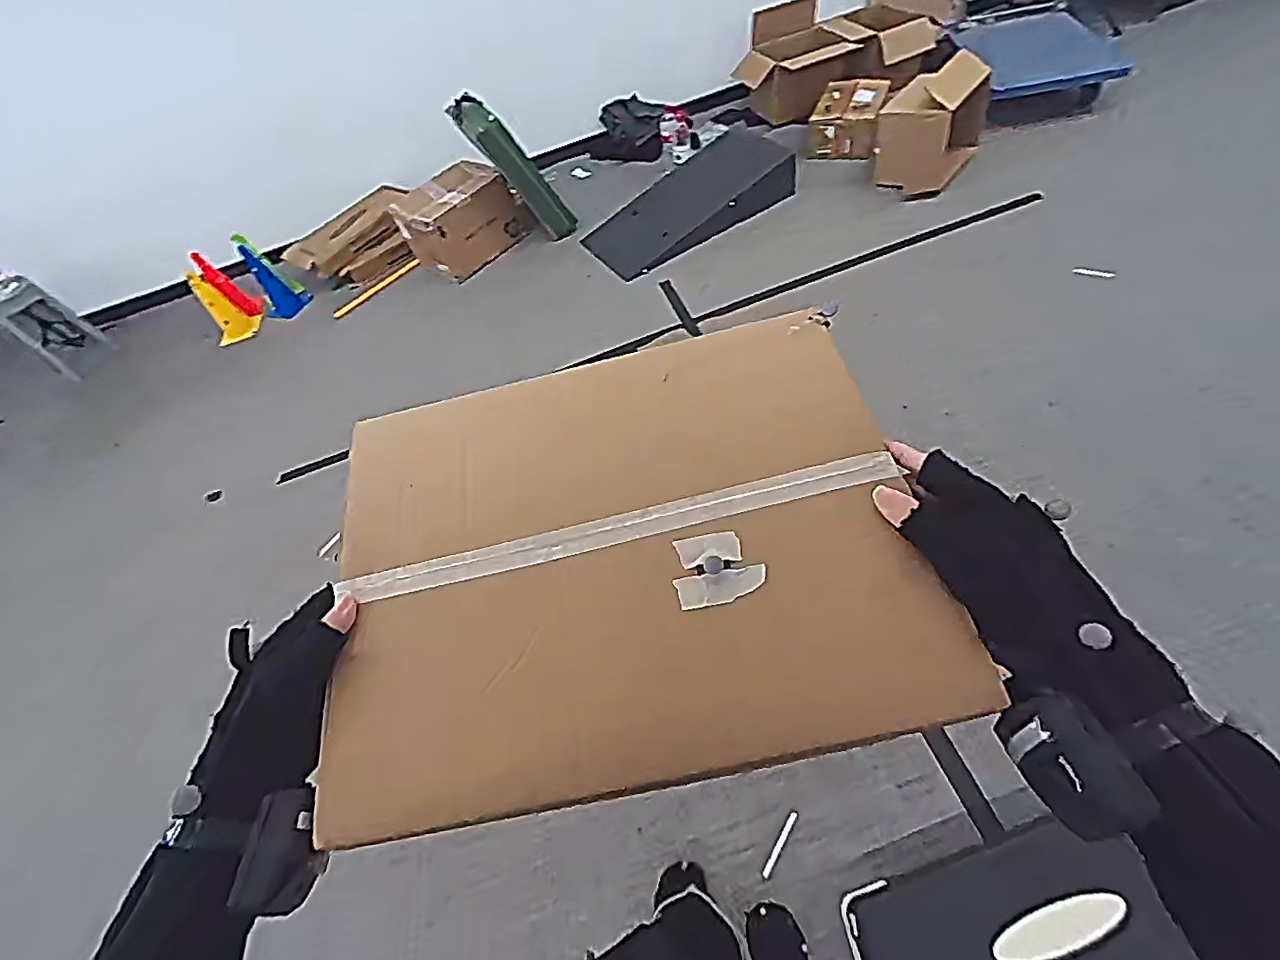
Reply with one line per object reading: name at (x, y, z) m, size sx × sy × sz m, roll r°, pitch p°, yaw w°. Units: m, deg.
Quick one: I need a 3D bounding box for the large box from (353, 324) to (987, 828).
large box at (0.009, 0.110, 0.527) m, size 0.408 × 0.320 × 0.320 m, roll -13°, pitch 61°, yaw 3°
